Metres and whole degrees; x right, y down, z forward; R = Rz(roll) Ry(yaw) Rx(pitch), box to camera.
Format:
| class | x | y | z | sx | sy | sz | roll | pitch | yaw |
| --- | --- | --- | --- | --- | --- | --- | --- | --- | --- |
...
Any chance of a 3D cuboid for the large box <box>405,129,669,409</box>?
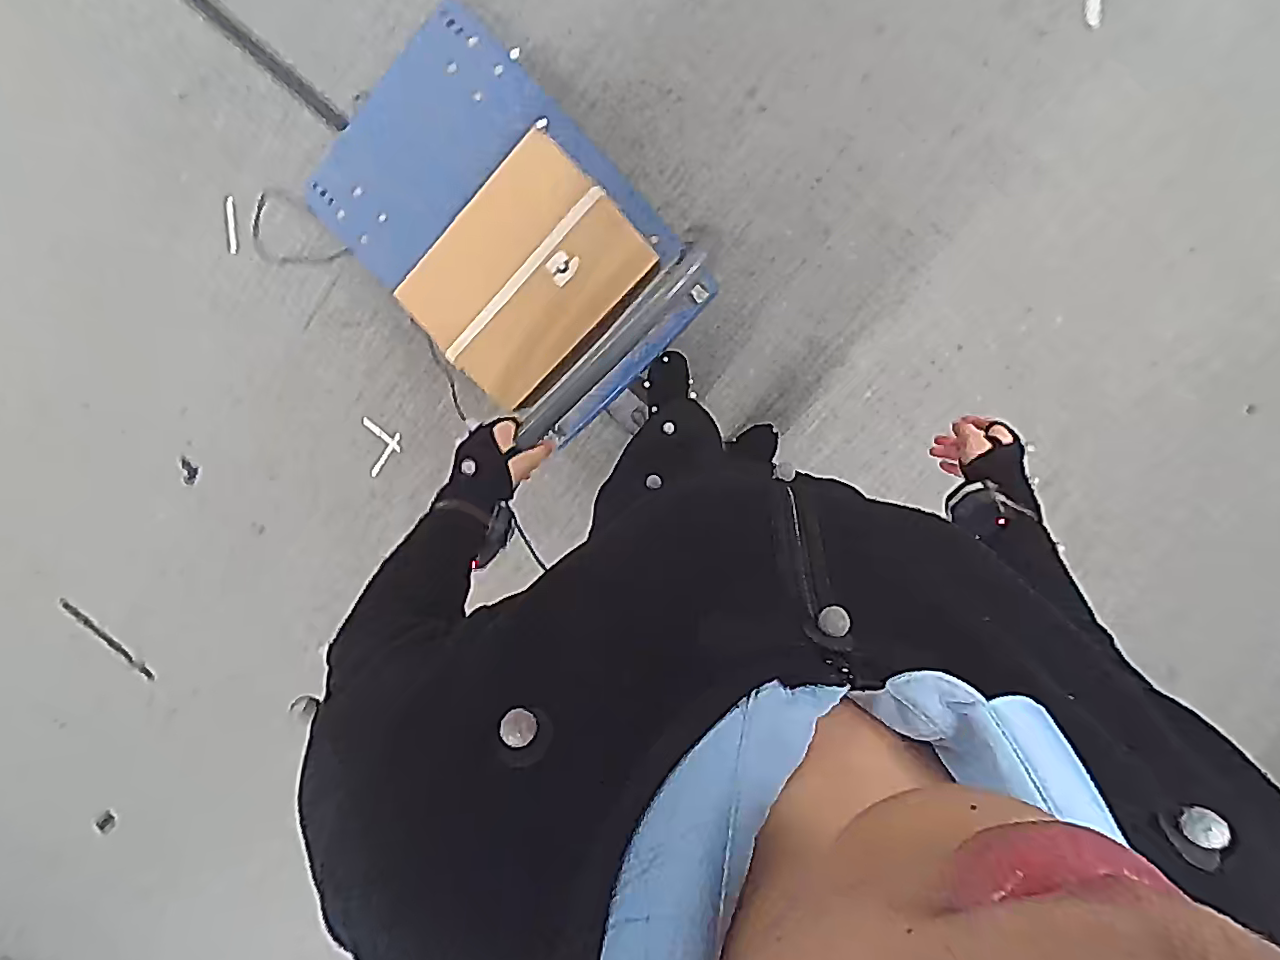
| class | x | y | z | sx | sy | sz | roll | pitch | yaw |
| --- | --- | --- | --- | --- | --- | --- | --- | --- | --- |
| large box | -0.190 | -0.400 | 1.139 | 0.408 | 0.320 | 0.320 | -43 | 94 | 12 |
